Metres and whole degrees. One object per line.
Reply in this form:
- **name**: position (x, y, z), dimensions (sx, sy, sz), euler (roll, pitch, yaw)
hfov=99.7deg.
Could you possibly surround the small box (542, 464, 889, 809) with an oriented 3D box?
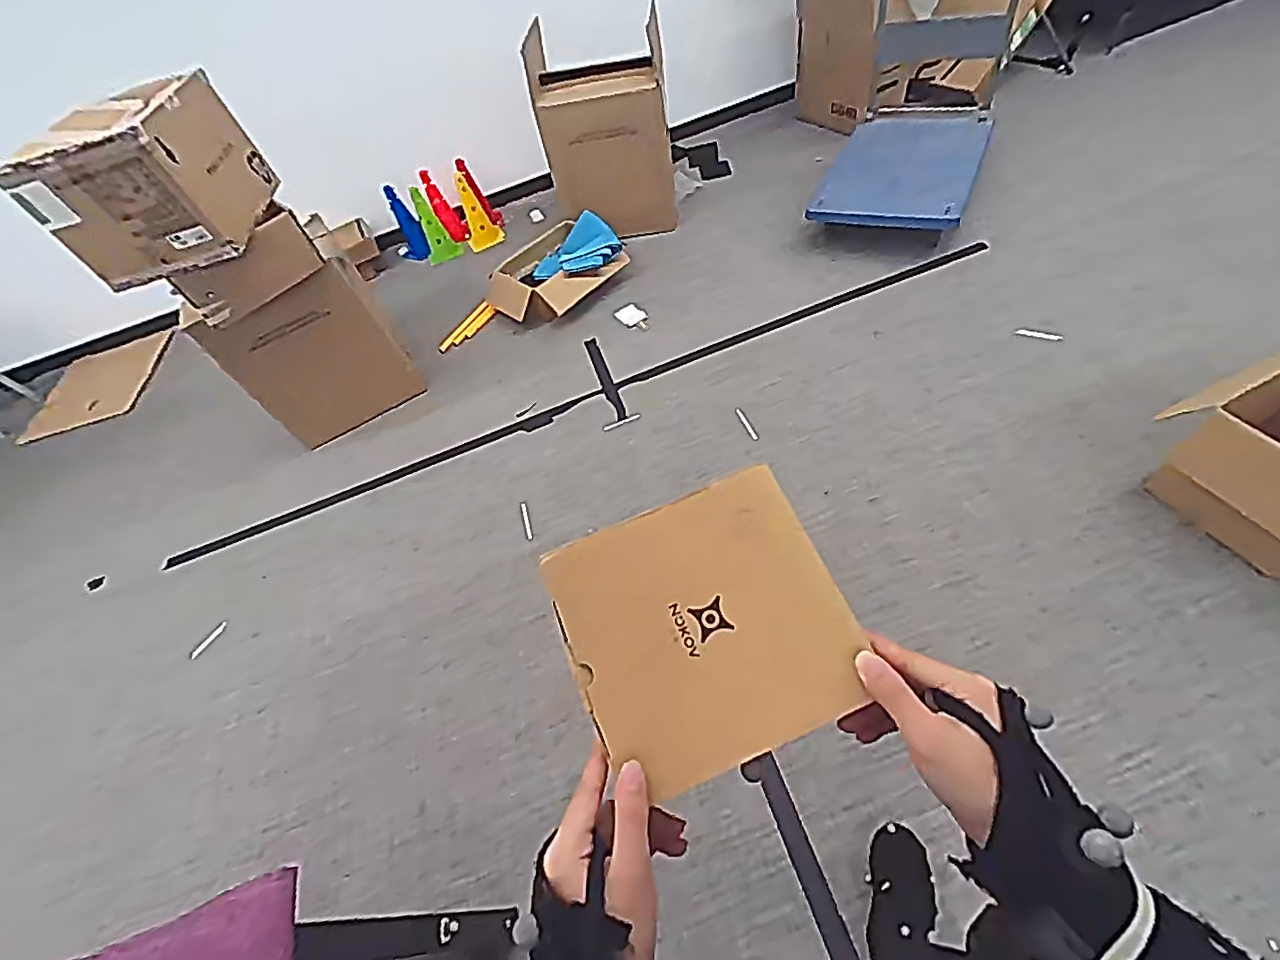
- **small box**: position (0.048, 0.116, 0.419), dimensions (0.179, 0.176, 0.168), euler (-23, 68, -3)
